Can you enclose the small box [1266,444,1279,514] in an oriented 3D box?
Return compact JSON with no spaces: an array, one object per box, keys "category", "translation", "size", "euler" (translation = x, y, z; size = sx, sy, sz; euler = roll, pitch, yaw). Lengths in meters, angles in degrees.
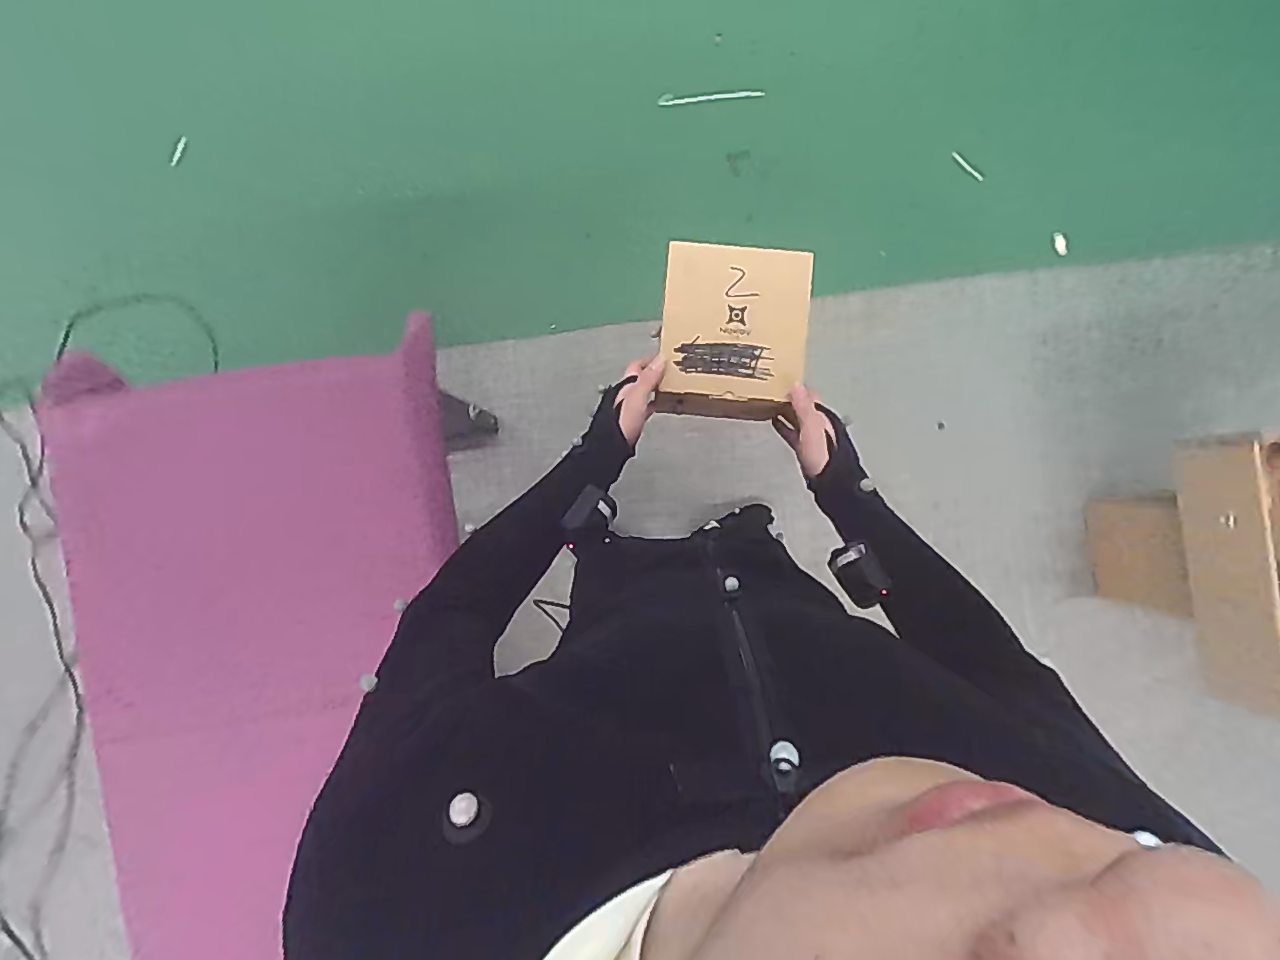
[{"category":"small box","translation":[1.552,-0.009,1.182],"size":[0.179,0.176,0.168],"euler":[-6,90,-2]}]
